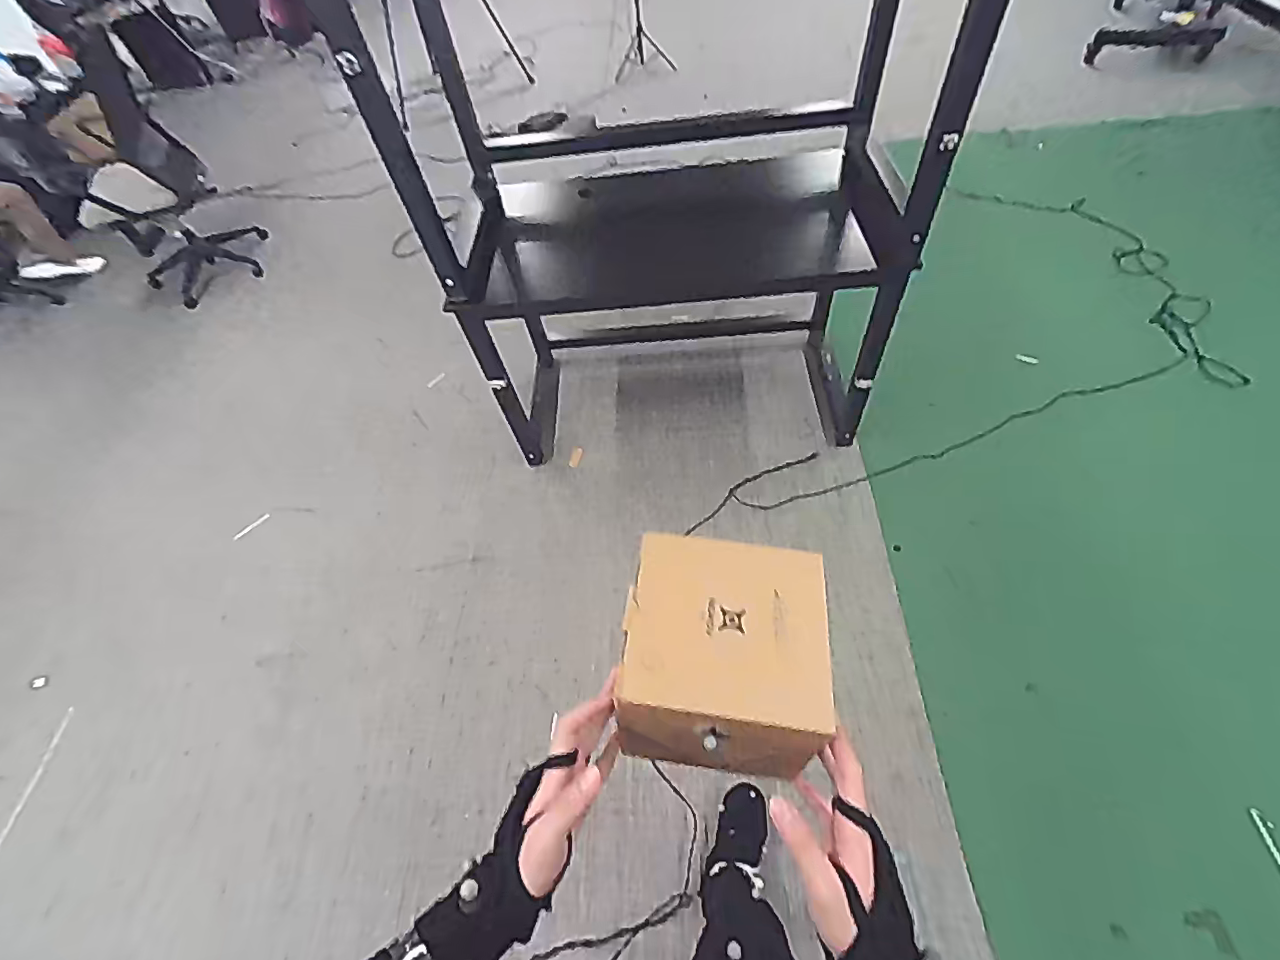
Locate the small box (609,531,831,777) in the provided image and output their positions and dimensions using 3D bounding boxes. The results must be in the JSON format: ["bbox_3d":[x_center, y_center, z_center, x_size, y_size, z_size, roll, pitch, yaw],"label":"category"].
[{"bbox_3d":[0.074,0.172,0.529,0.179,0.176,0.168,7,49,6],"label":"small box"}]
